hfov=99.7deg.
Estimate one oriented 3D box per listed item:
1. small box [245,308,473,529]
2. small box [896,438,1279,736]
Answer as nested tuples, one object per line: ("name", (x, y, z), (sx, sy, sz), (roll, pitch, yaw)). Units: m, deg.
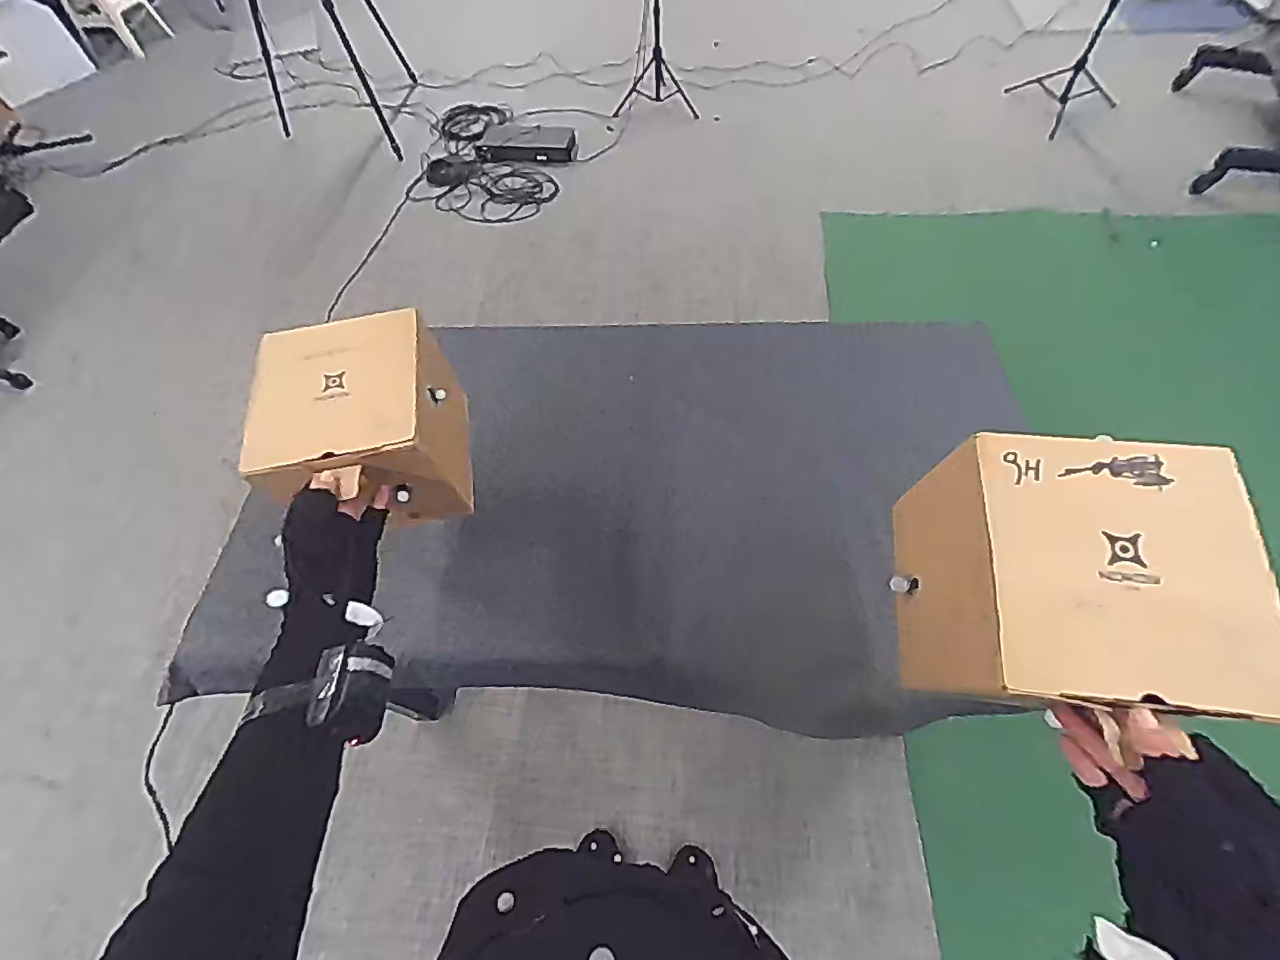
("small box", (-0.294, -0.057, 0.606), (0.168, 0.176, 0.179), (-11, 61, -3))
("small box", (0.313, 0.084, 0.419), (0.168, 0.176, 0.179), (5, 71, 6))
